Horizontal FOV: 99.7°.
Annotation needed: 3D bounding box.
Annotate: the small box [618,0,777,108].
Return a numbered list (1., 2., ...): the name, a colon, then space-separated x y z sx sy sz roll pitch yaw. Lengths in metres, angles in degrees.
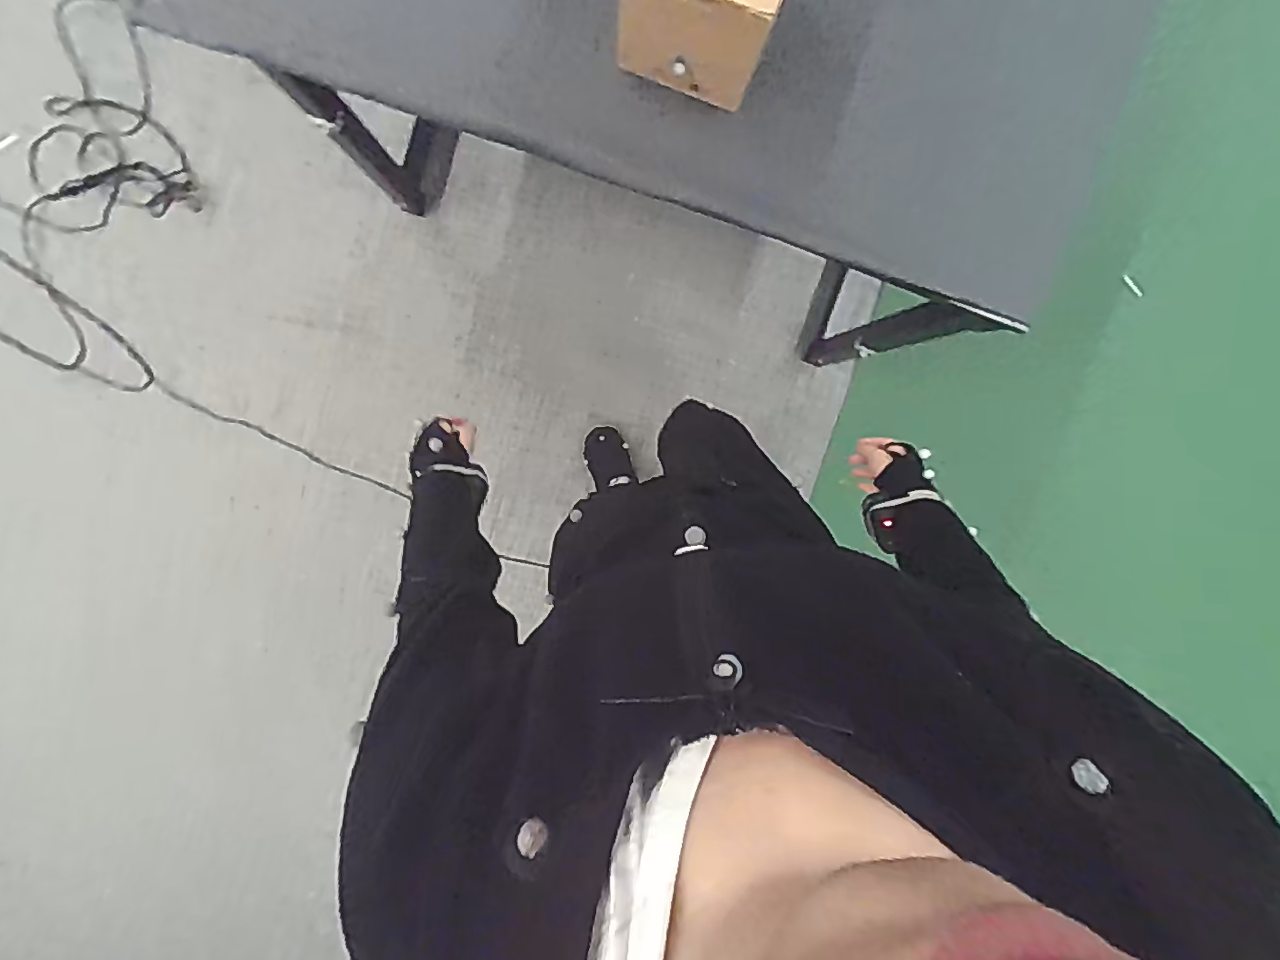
1. small box: 0.075 -0.577 0.609 0.168 0.176 0.179 18 94 -6

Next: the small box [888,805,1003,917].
1. small box: 0.790 0.989 1.415 0.179 0.176 0.168 12 96 -6
